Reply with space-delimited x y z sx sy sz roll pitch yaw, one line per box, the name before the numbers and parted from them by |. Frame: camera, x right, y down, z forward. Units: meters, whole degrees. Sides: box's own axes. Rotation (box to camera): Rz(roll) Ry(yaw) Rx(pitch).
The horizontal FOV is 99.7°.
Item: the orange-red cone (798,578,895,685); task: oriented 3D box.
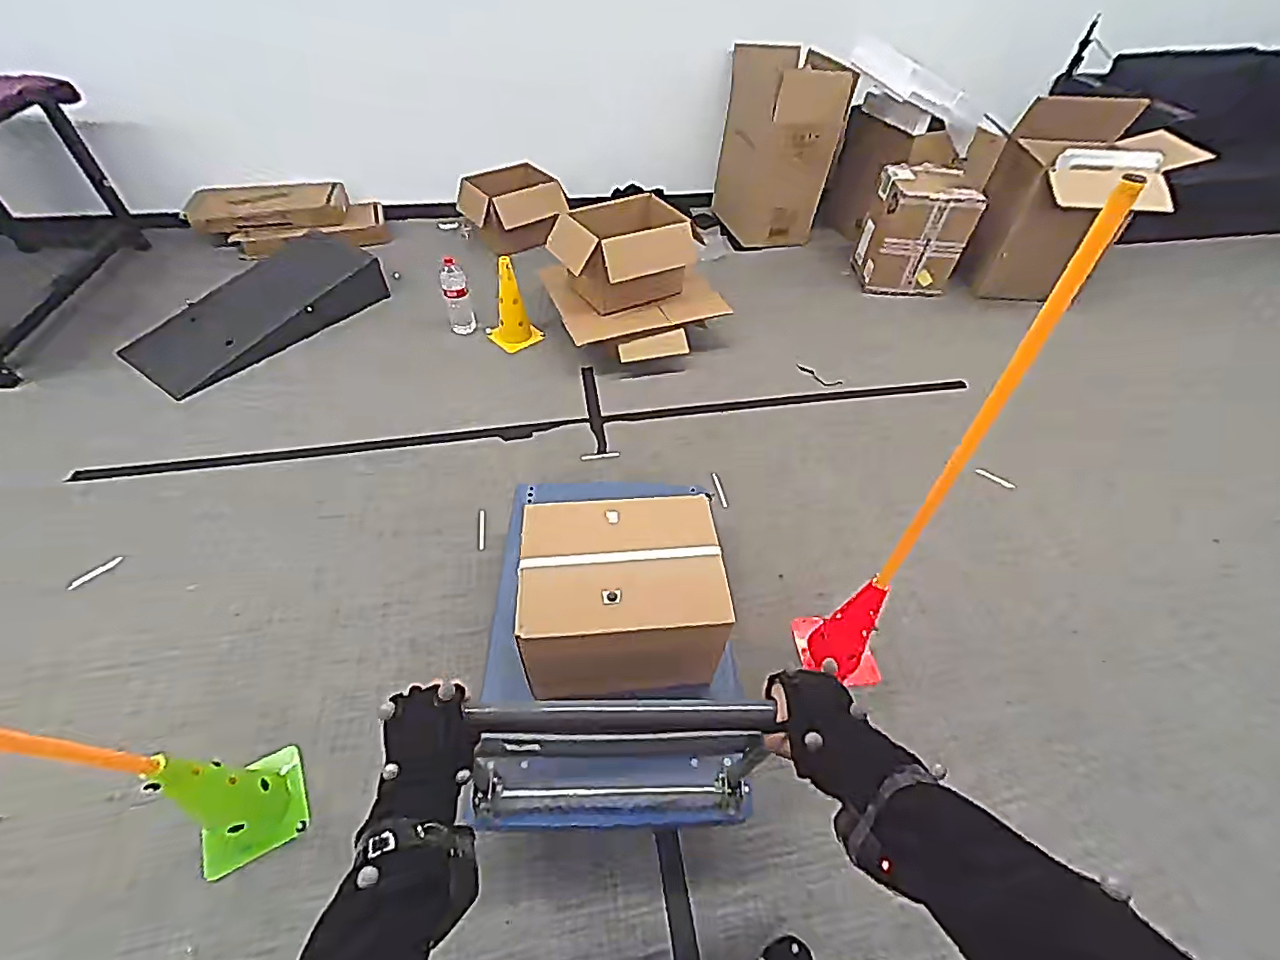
orange-red cone | 0.553 0.352 1.356 0.199 0.360 0.198 -1 49 -5
